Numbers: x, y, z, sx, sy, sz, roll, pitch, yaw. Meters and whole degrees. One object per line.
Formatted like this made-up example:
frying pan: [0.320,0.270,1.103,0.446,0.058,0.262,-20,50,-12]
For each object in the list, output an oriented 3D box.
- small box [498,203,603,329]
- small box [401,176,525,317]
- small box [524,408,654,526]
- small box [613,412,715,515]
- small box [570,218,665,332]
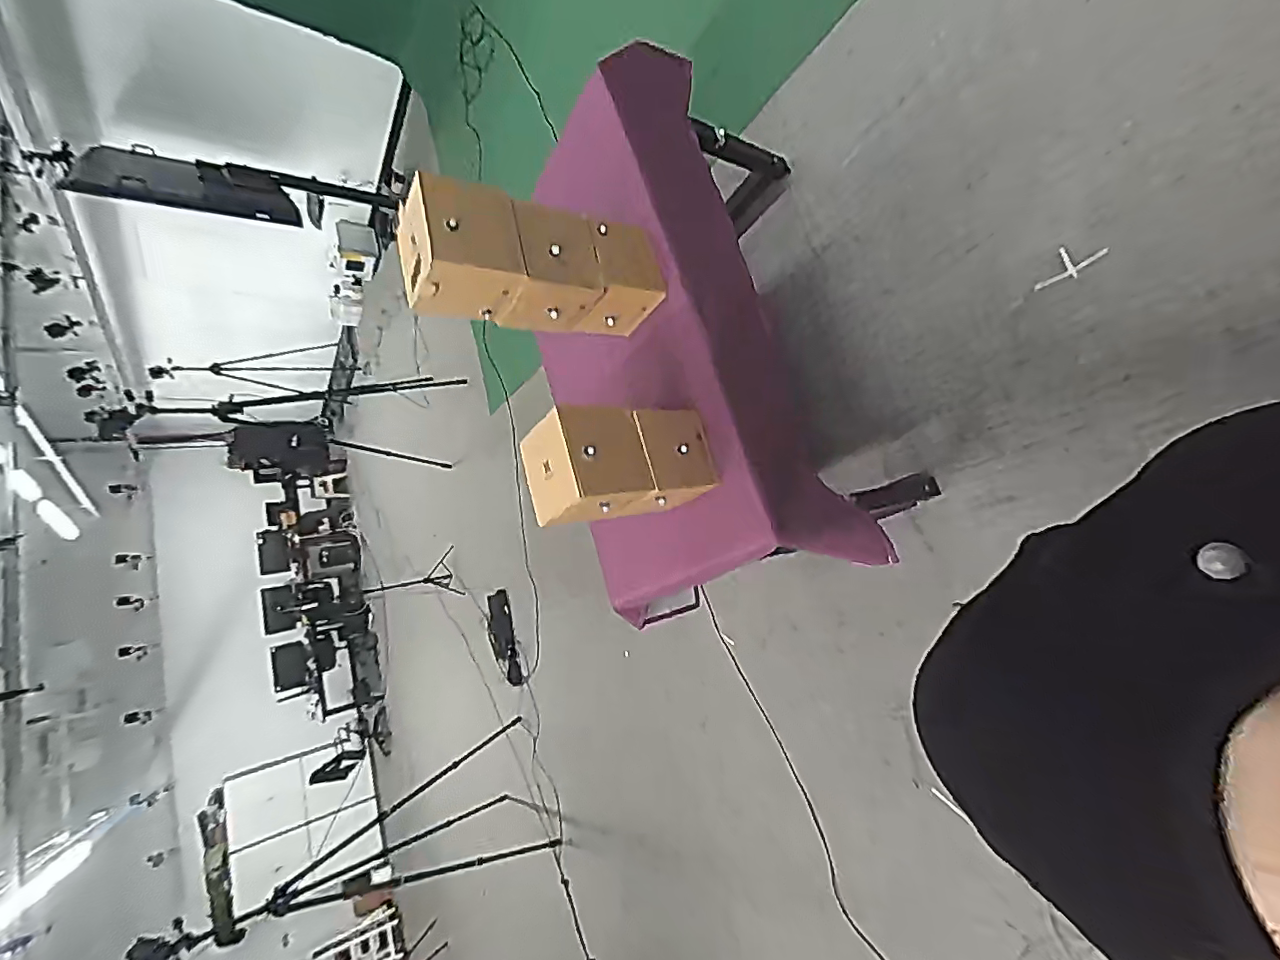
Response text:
small box: [-0.195,-0.423,1.101,0.168,0.176,0.179,-27,74,51]
small box: [-0.327,-0.418,1.002,0.168,0.176,0.179,-27,72,51]
small box: [-0.096,-0.027,1.028,0.168,0.176,0.179,-32,69,49]
small box: [0.035,-0.036,1.125,0.179,0.176,0.168,-31,70,50]
small box: [-0.067,-0.444,1.202,0.168,0.176,0.179,-33,69,50]
